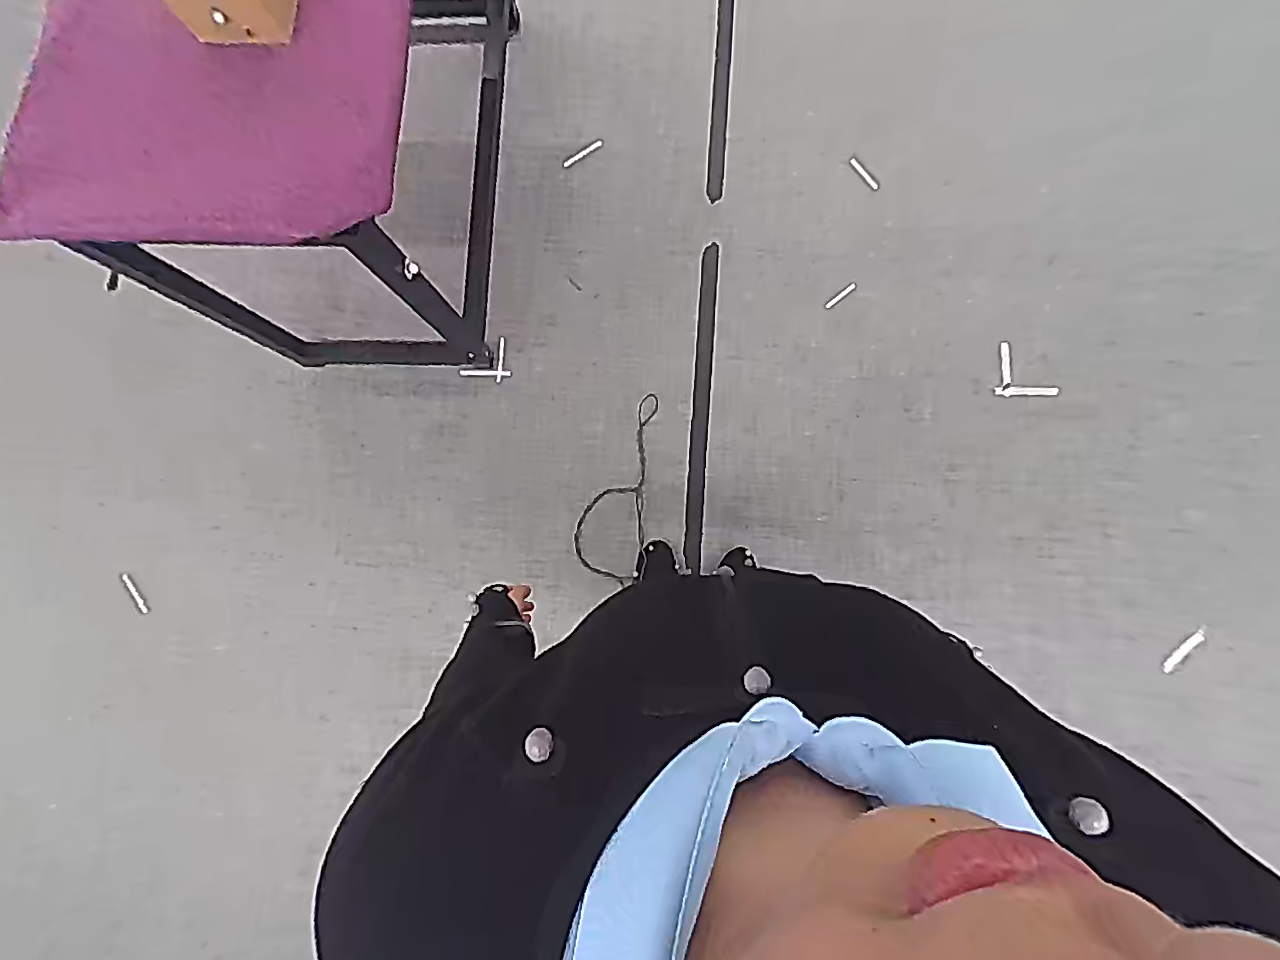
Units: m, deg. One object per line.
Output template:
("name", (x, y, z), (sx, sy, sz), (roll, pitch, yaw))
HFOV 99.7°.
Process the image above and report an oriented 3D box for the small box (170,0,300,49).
("small box", (-0.674, -0.844, 0.864), (0.168, 0.176, 0.179), (3, 83, 4))
